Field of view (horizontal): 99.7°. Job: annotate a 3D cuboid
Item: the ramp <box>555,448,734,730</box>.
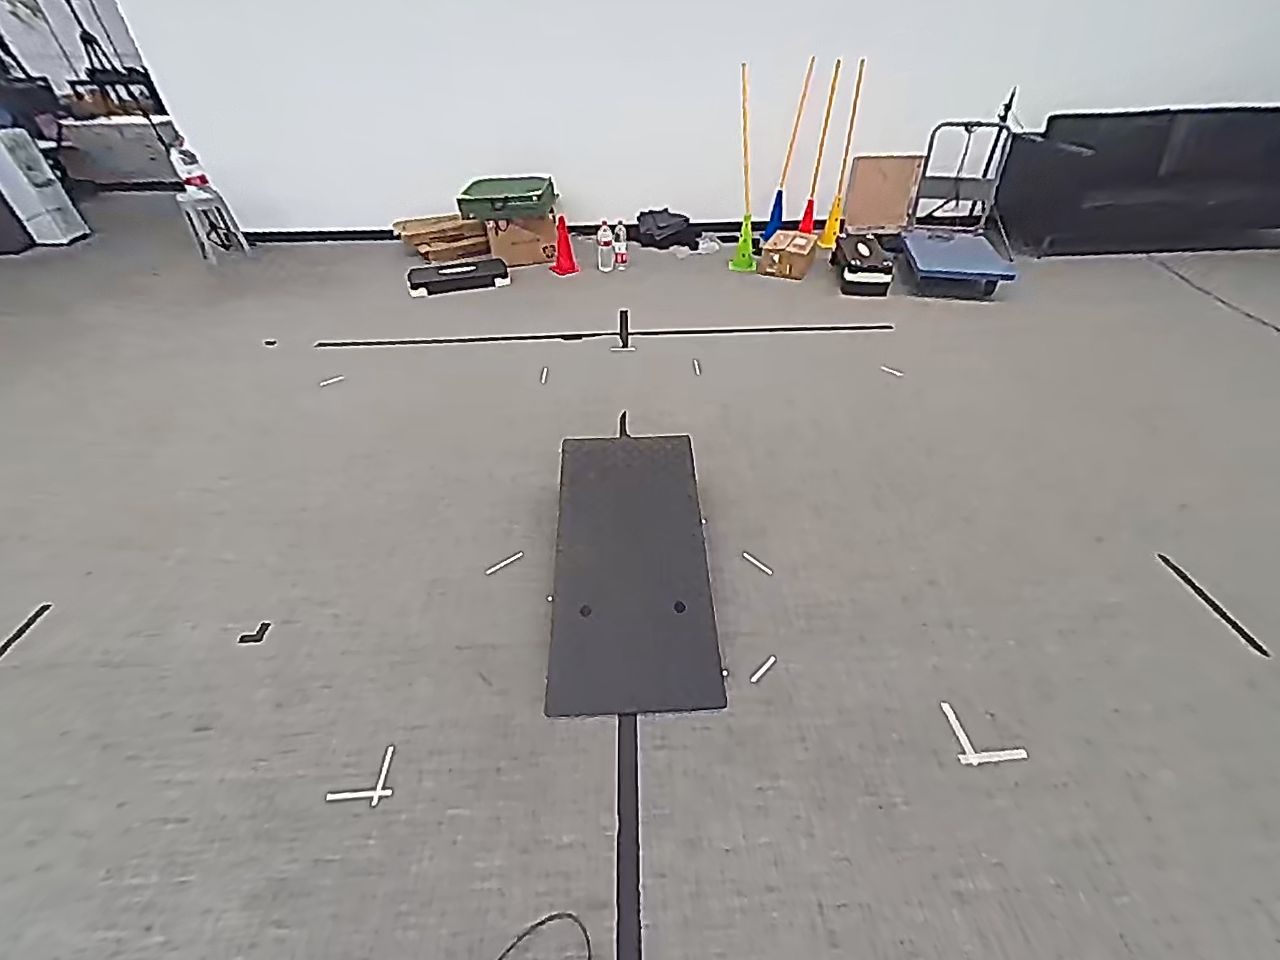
[{"bbox_3d":[-0.013,0.271,1.758,0.509,0.206,0.991,-3,40,-4],"label":"ramp"}]
